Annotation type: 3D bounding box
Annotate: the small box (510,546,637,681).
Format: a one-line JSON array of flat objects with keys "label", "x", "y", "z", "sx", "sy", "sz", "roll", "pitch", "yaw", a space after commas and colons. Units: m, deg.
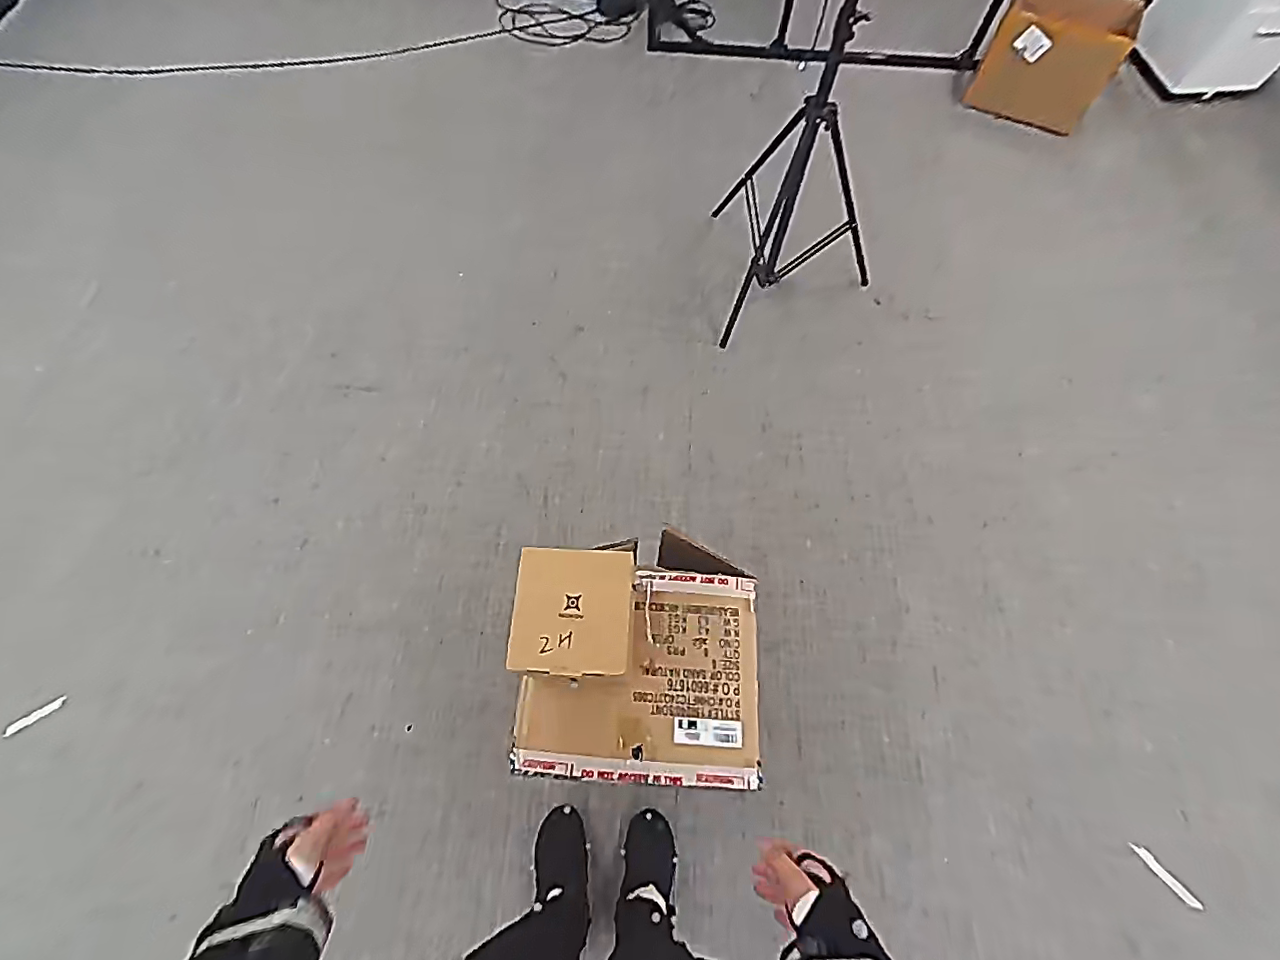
[{"label": "small box", "x": -0.091, "y": 0.212, "z": 0.839, "sx": 0.168, "sy": 0.176, "sz": 0.179, "roll": 2, "pitch": 68, "yaw": 2}]
